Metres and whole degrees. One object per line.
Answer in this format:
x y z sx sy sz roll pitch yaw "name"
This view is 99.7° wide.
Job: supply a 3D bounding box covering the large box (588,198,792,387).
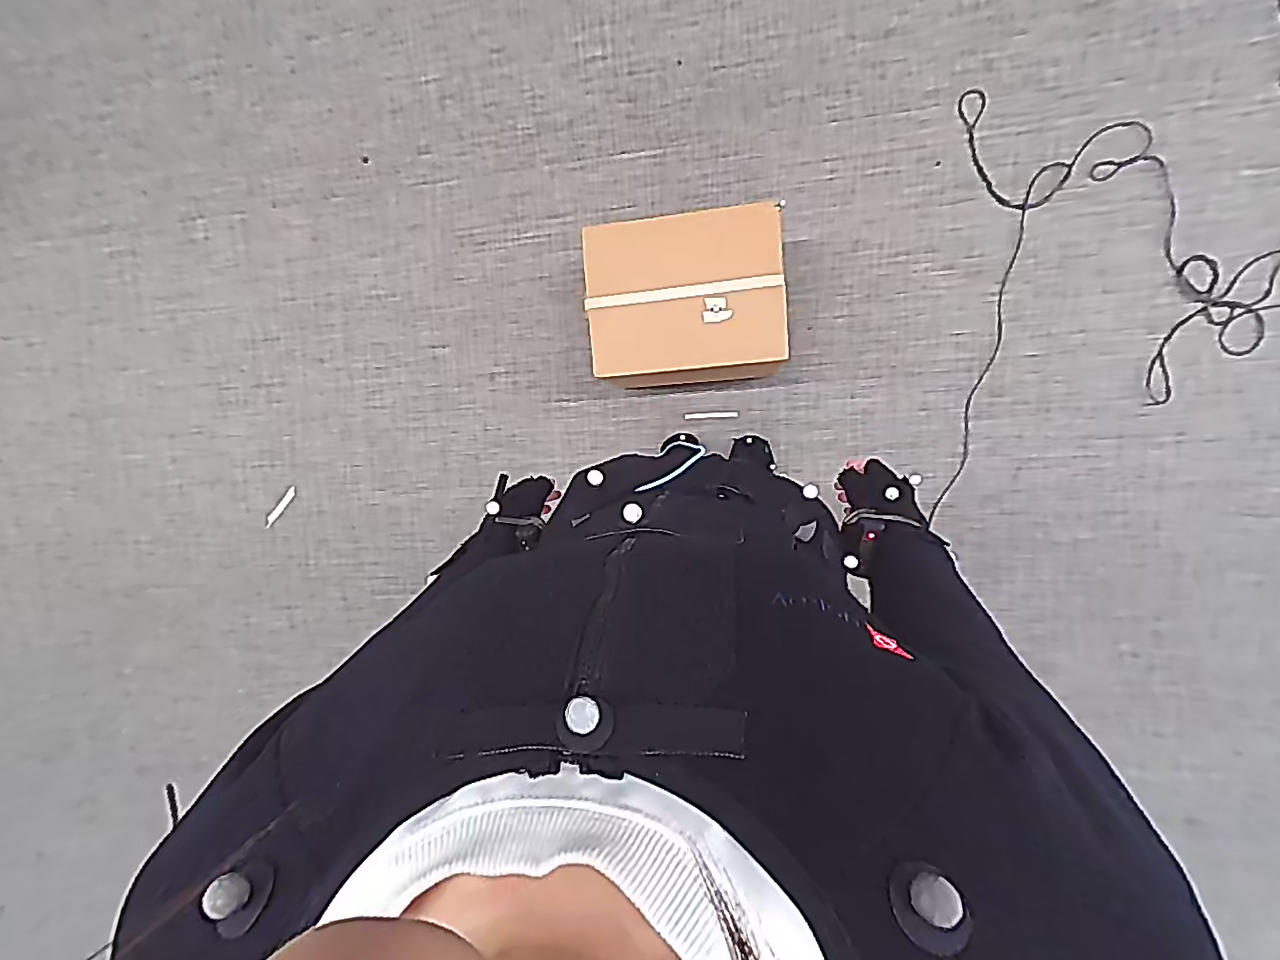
0.121 -0.403 1.254 0.408 0.320 0.320 -4 95 9 "large box"
